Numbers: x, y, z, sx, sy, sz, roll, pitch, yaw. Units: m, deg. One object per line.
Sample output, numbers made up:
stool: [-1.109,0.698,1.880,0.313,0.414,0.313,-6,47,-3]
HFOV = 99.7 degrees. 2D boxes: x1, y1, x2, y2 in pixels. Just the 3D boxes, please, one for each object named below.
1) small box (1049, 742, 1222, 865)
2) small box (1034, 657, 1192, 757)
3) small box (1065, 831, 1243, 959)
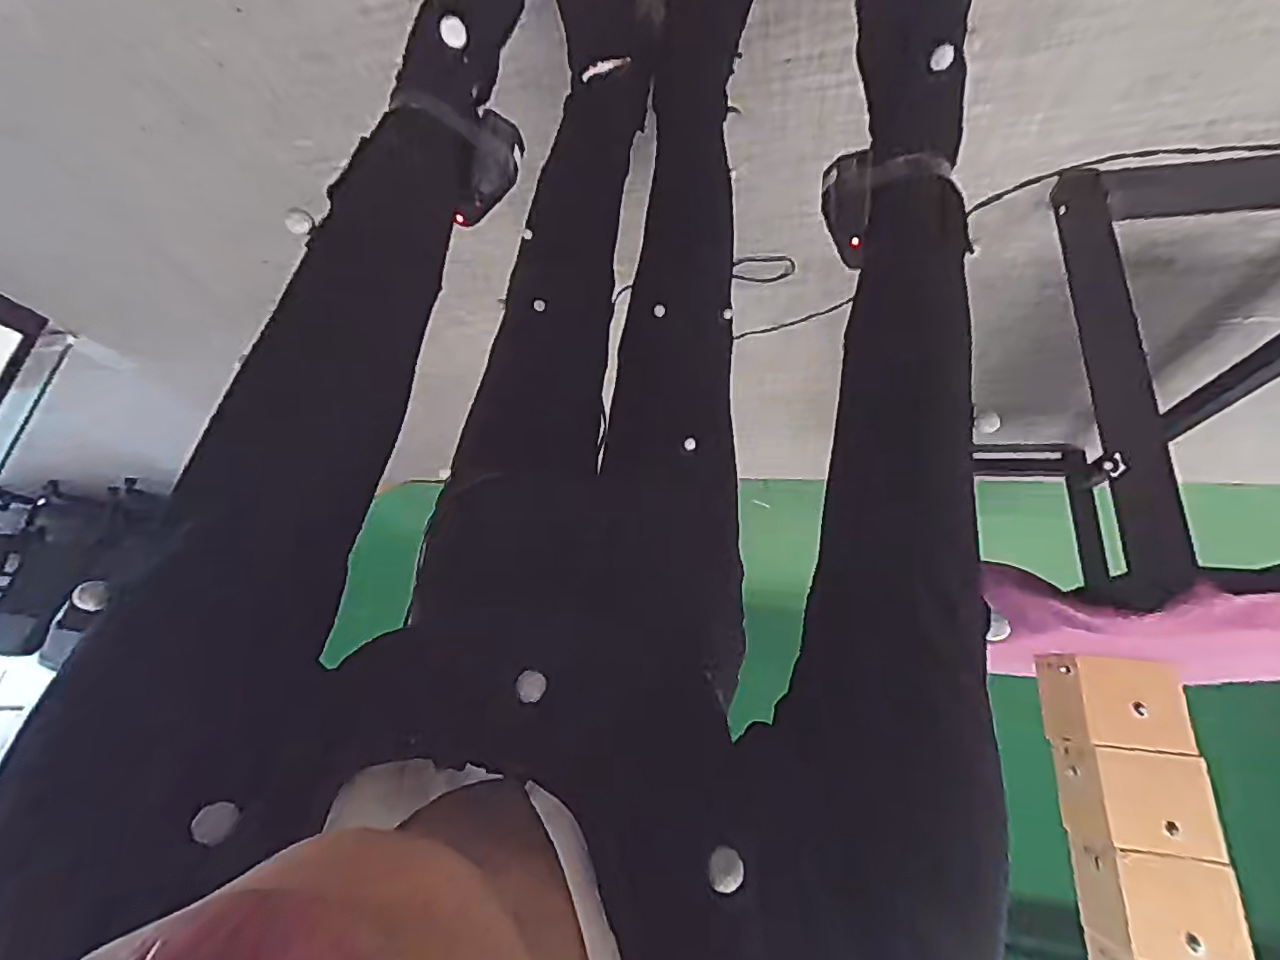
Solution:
small box: [0.933,0.606,1.039,0.179,0.176,0.168,2,159,12]
small box: [0.942,0.454,1.100,0.179,0.176,0.168,1,159,11]
small box: [0.922,0.758,0.982,0.179,0.176,0.168,1,158,12]
